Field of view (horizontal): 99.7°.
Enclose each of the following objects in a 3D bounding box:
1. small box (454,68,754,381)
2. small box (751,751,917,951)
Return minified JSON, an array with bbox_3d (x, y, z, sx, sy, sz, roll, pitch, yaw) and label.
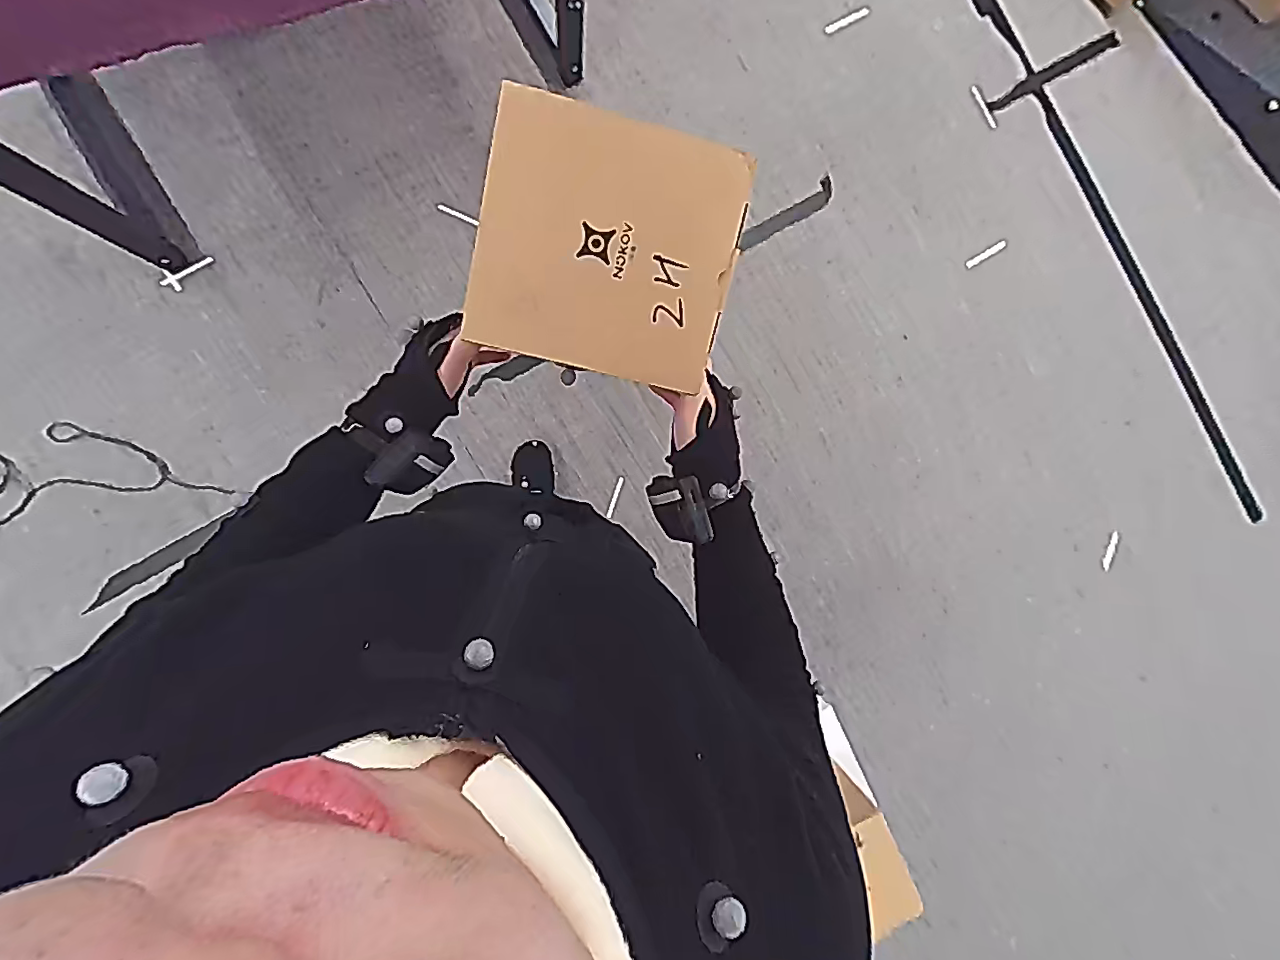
[{"bbox_3d":[-0.031,-0.183,0.443,0.179,0.176,0.168,12,102,-7],"label":"small box"},{"bbox_3d":[0.309,0.595,0.892,0.168,0.176,0.179,-25,95,-7],"label":"small box"}]
